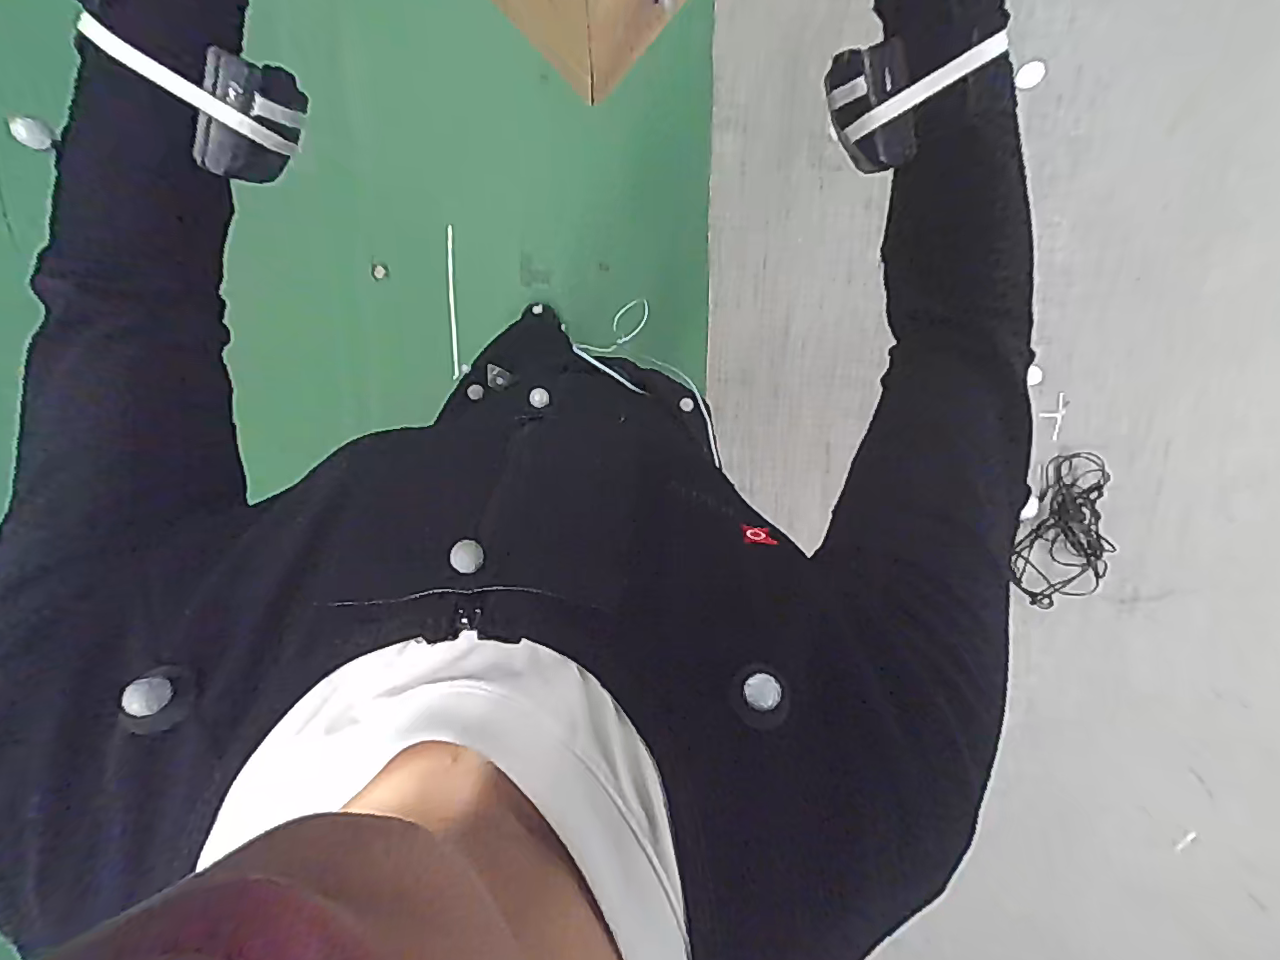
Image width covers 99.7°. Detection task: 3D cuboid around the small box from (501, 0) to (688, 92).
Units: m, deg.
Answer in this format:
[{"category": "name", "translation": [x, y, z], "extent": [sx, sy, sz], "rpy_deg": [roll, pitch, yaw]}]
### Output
[{"category": "small box", "translation": [-0.037, -0.387, 0.318], "extent": [0.179, 0.176, 0.168], "rpy_deg": [42, 99, -13]}]
